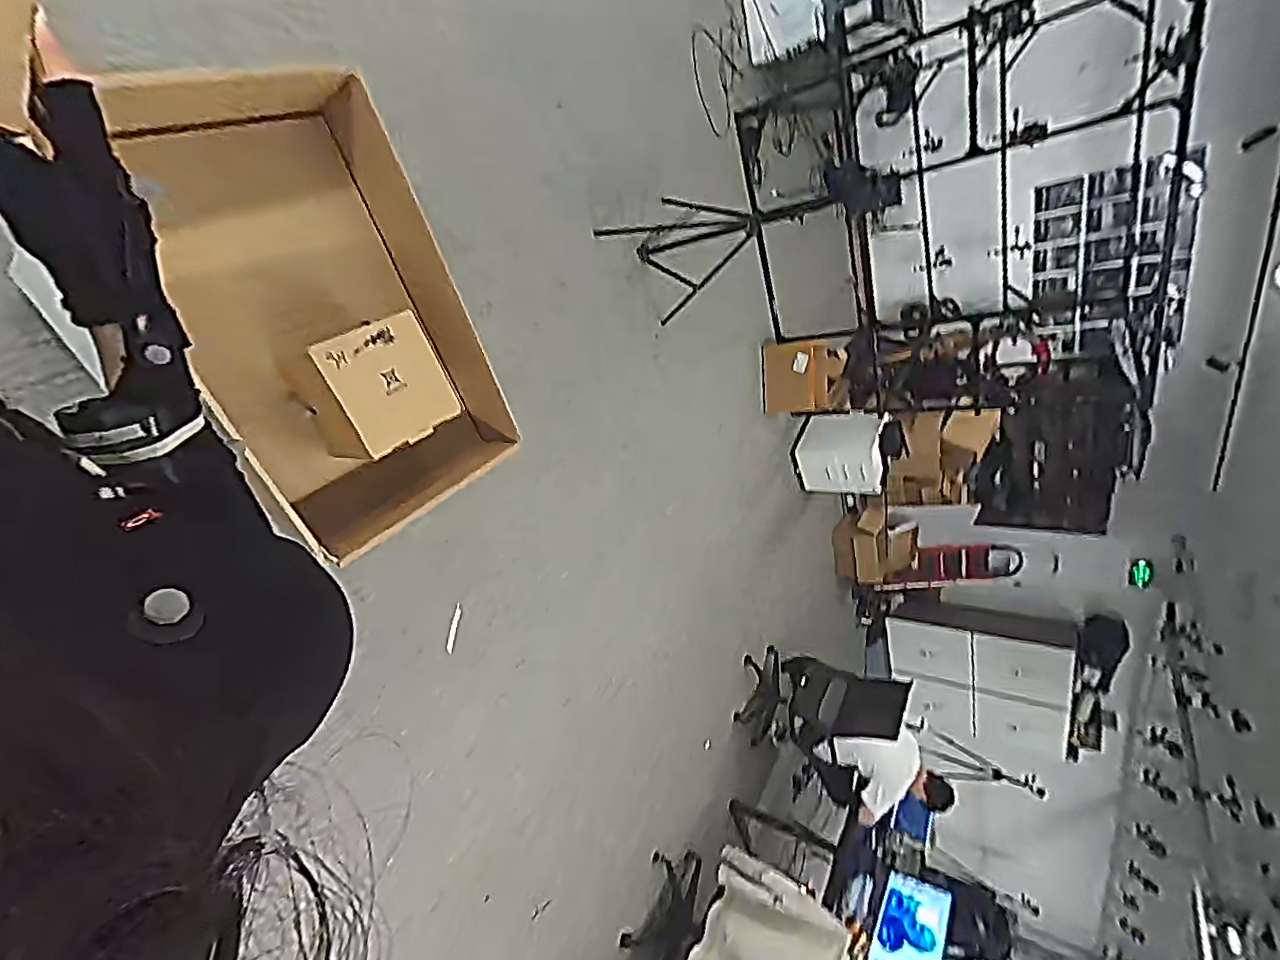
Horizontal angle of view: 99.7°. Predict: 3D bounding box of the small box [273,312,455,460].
[{"bbox_3d":[-0.435,-0.148,0.858,0.168,0.176,0.179,-41,123,-38],"label":"small box"}]
